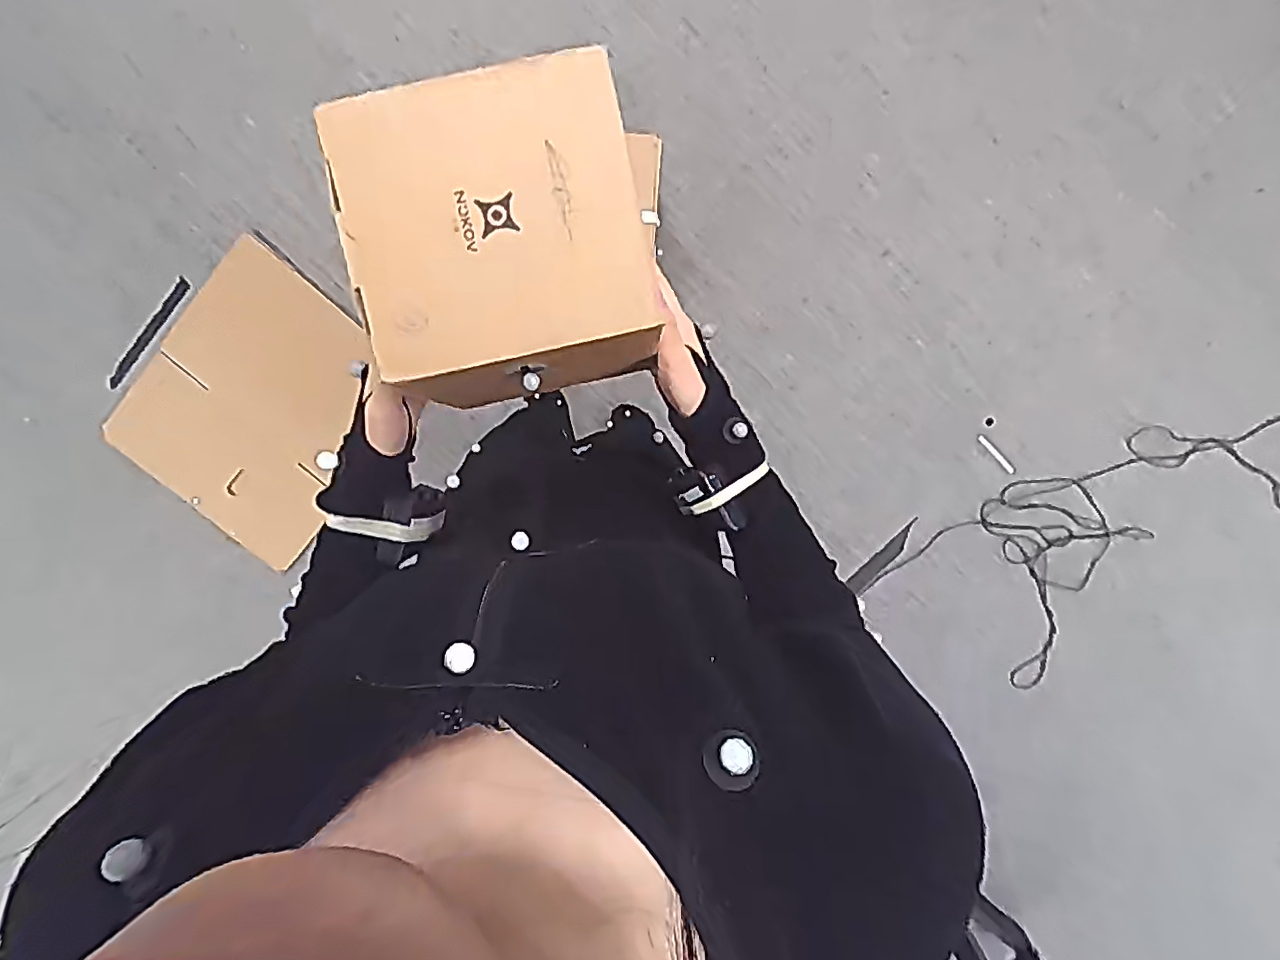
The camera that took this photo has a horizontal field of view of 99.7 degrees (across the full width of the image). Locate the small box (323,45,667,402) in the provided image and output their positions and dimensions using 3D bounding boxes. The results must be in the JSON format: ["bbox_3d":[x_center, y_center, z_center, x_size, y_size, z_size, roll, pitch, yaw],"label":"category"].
[{"bbox_3d":[-0.084,-0.158,0.395,0.179,0.176,0.168,-13,94,-1],"label":"small box"}]
